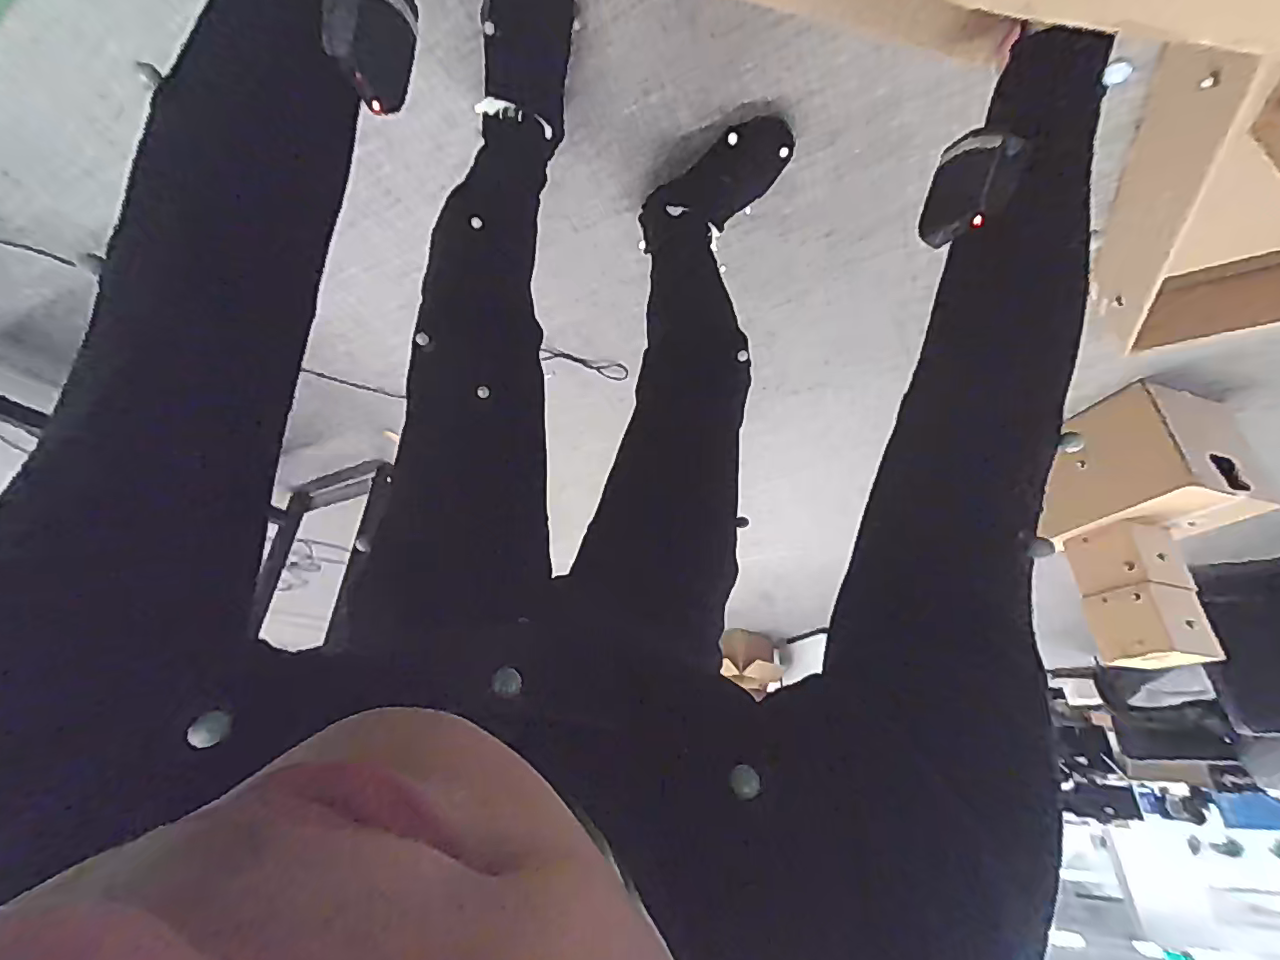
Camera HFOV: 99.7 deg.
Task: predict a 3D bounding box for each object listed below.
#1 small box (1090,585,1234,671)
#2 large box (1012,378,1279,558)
[{"bbox_3d":[1.286,0.369,1.348,0.179,0.176,0.168,10,150,-15],"label":"small box"},{"bbox_3d":[1.357,-0.015,1.495,0.320,0.320,0.408,9,149,-14],"label":"large box"}]
